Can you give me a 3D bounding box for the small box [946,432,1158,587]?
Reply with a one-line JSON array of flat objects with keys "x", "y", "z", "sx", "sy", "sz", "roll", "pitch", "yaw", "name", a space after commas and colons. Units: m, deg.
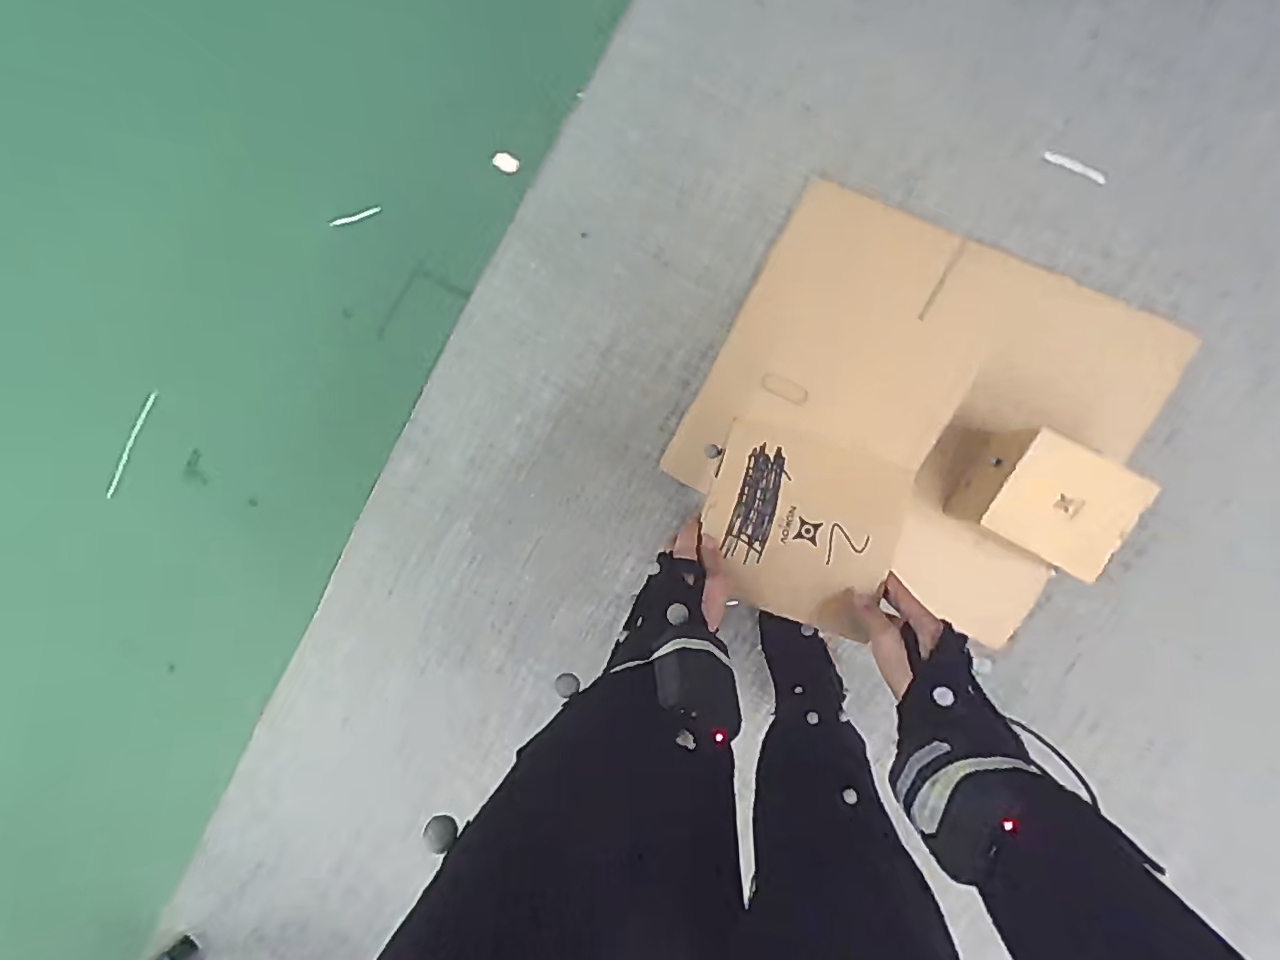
[{"x": 0.627, "y": 0.042, "z": 0.855, "sx": 0.179, "sy": 0.176, "sz": 0.168, "roll": 31, "pitch": 97, "yaw": 9, "name": "small box"}]
